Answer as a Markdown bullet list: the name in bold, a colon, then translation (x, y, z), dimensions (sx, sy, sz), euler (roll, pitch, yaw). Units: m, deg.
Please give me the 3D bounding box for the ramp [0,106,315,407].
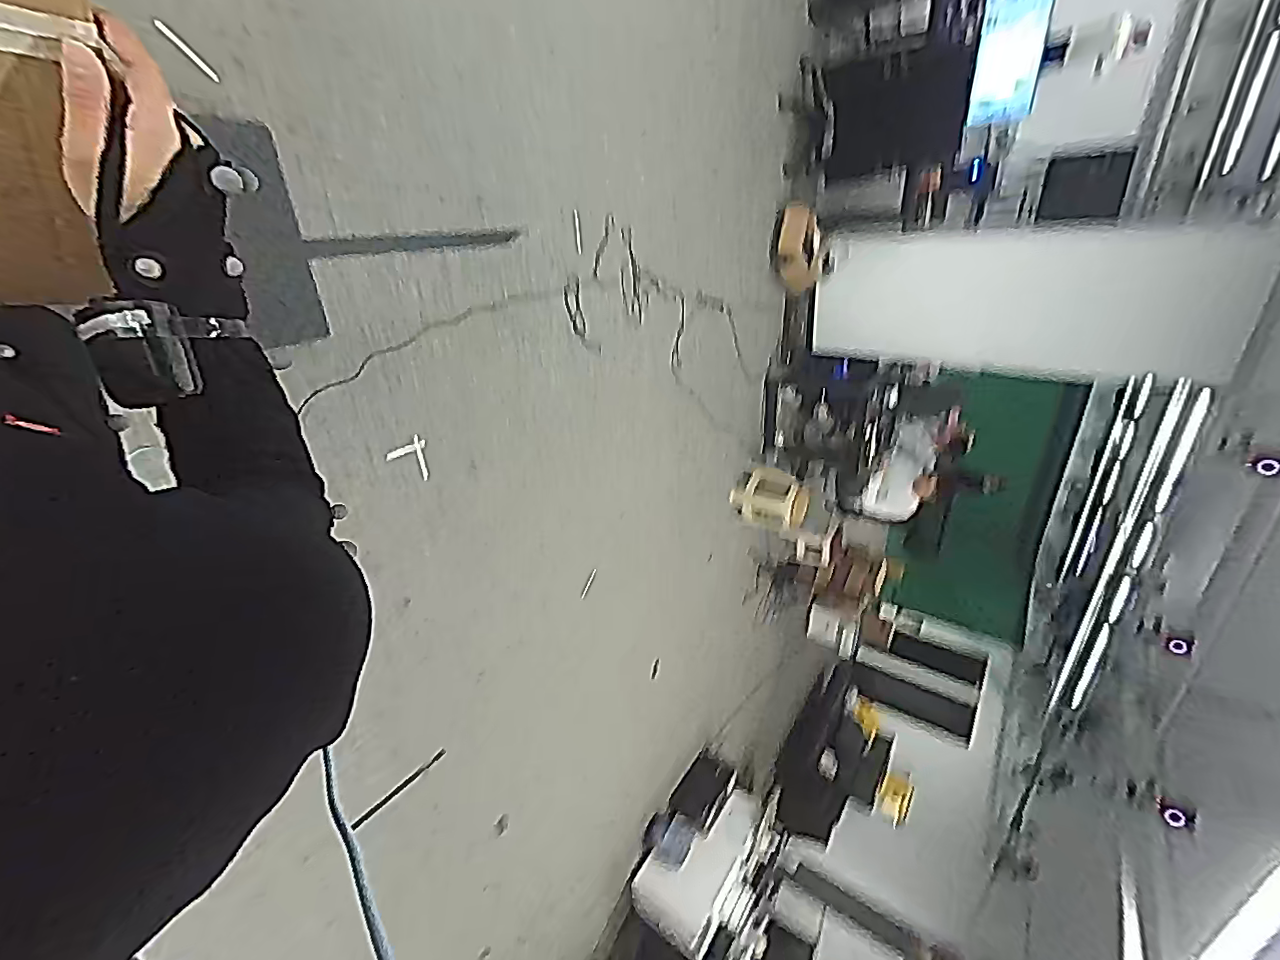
- **ramp**: translation (-1.099, -0.401, 0.952), dimensions (0.991, 0.206, 0.509), euler (-37, 131, -45)
